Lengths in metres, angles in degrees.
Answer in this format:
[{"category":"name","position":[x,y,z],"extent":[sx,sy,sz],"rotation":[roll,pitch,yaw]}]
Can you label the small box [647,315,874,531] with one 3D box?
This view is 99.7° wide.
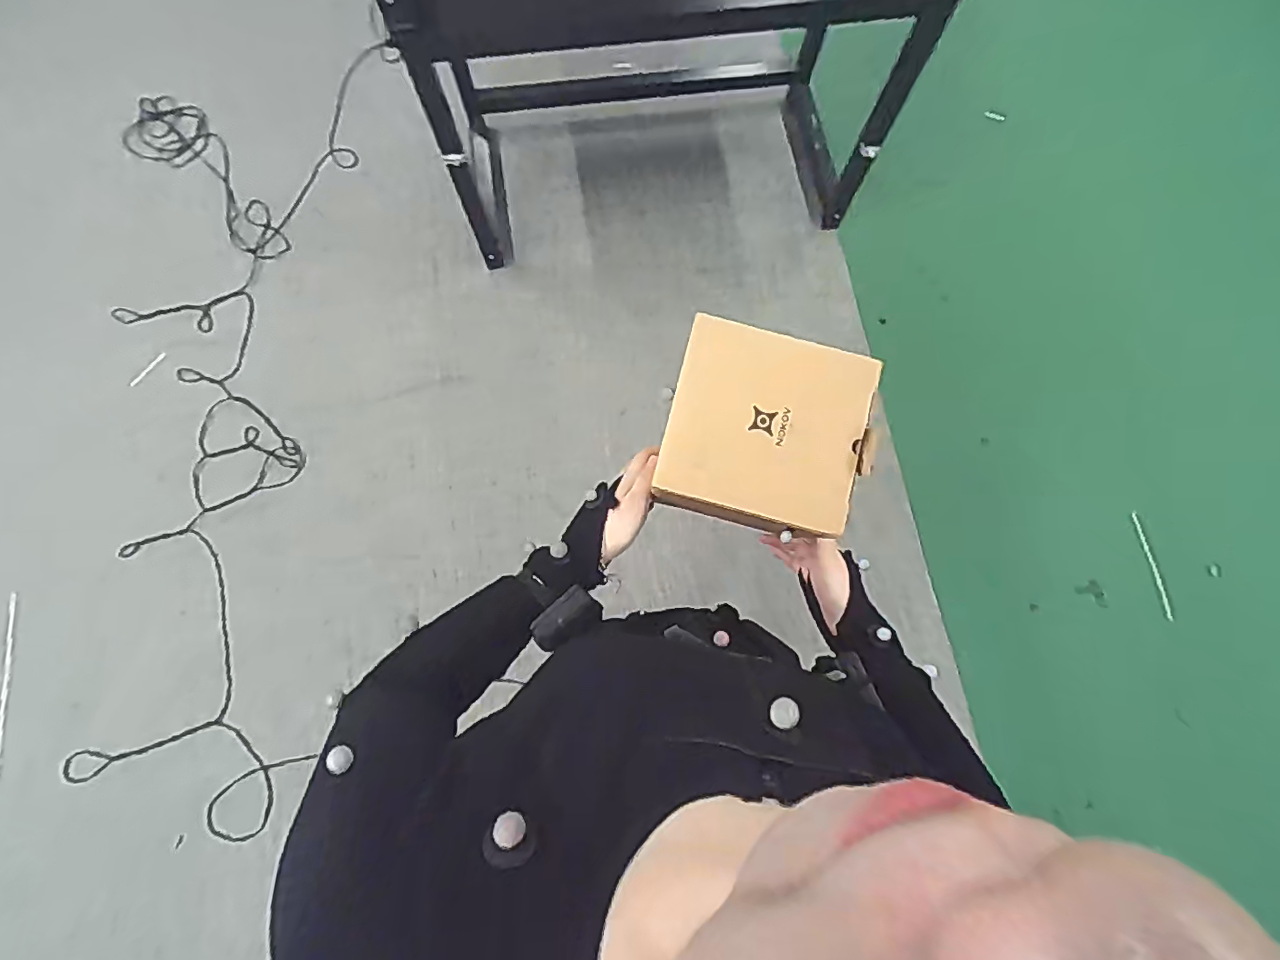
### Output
[{"category":"small box","position":[0.108,-0.043,0.559],"extent":[0.179,0.176,0.168],"rotation":[14,84,1]}]
